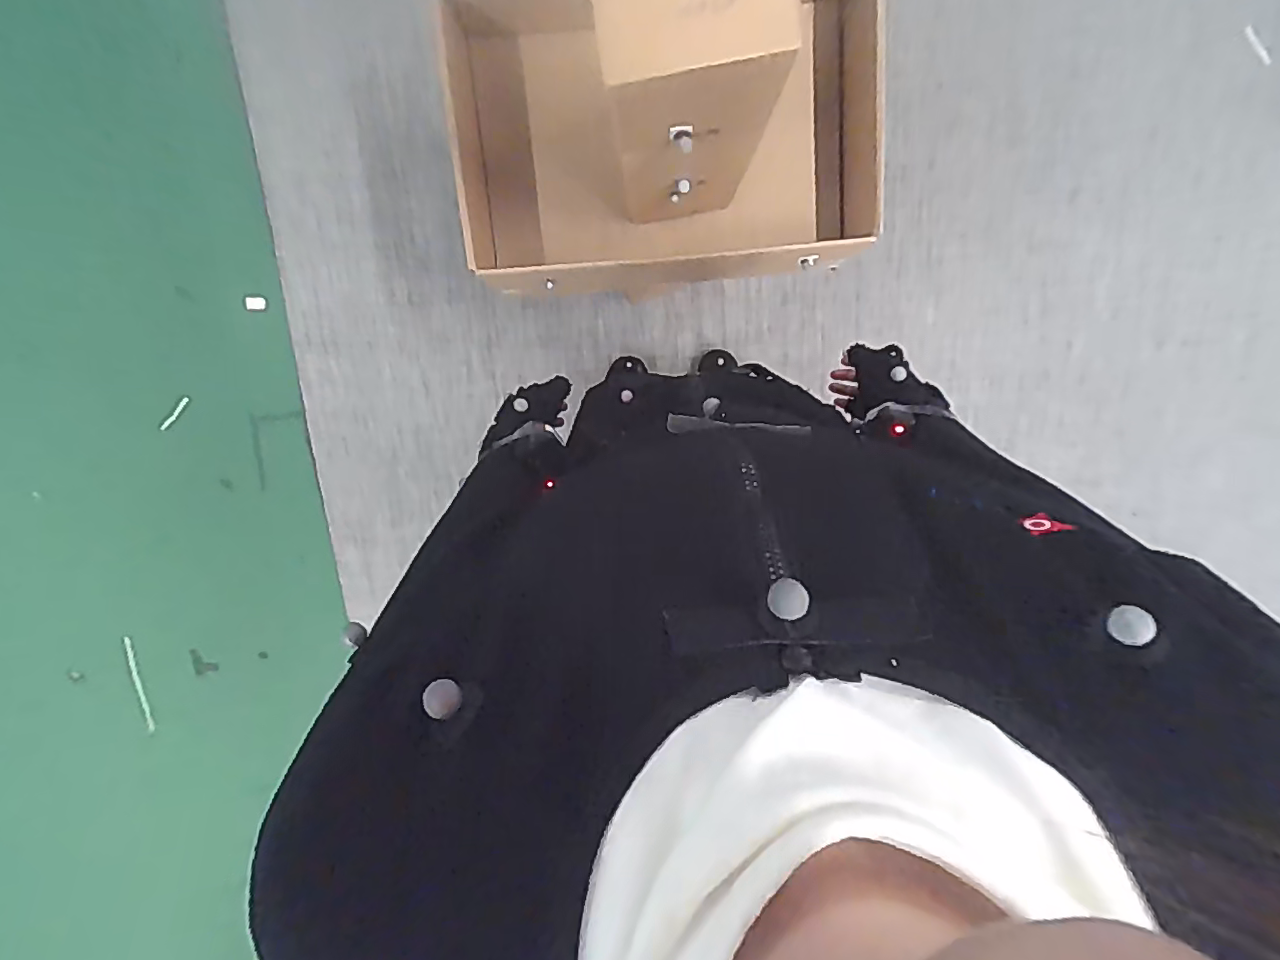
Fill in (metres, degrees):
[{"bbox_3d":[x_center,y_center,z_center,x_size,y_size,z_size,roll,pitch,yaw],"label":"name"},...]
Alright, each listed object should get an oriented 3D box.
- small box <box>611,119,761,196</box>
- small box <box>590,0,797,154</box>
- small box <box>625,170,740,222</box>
[{"bbox_3d":[0.044,-0.478,0.664,0.168,0.176,0.179,-8,103,4],"label":"small box"},{"bbox_3d":[0.039,-0.442,0.506,0.168,0.176,0.179,-8,103,5],"label":"small box"},{"bbox_3d":[0.051,-0.518,0.822,0.168,0.176,0.179,-8,101,5],"label":"small box"}]
